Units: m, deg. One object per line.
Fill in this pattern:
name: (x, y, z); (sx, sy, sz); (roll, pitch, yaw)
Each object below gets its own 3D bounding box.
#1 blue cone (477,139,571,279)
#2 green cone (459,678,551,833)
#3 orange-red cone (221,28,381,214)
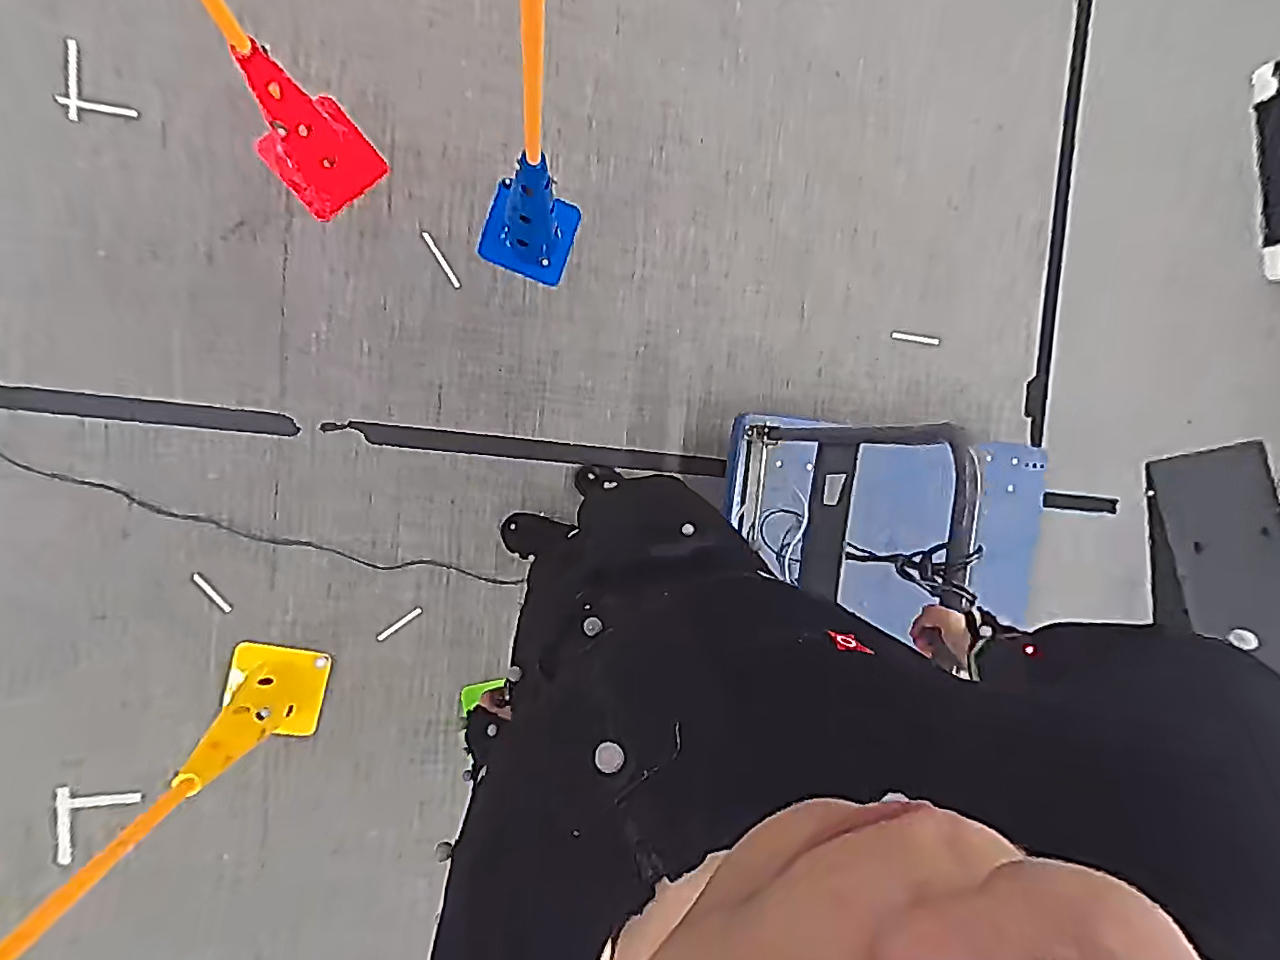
blue cone: (-0.236, -0.571, 1.102); (0.192, 0.380, 0.193); (20, 90, -12)
green cone: (-0.296, 0.607, 1.160); (0.202, 0.368, 0.200); (-9, 96, -10)
orange-red cone: (-0.651, -0.682, 0.989); (0.198, 0.360, 0.199); (-40, 102, -6)
